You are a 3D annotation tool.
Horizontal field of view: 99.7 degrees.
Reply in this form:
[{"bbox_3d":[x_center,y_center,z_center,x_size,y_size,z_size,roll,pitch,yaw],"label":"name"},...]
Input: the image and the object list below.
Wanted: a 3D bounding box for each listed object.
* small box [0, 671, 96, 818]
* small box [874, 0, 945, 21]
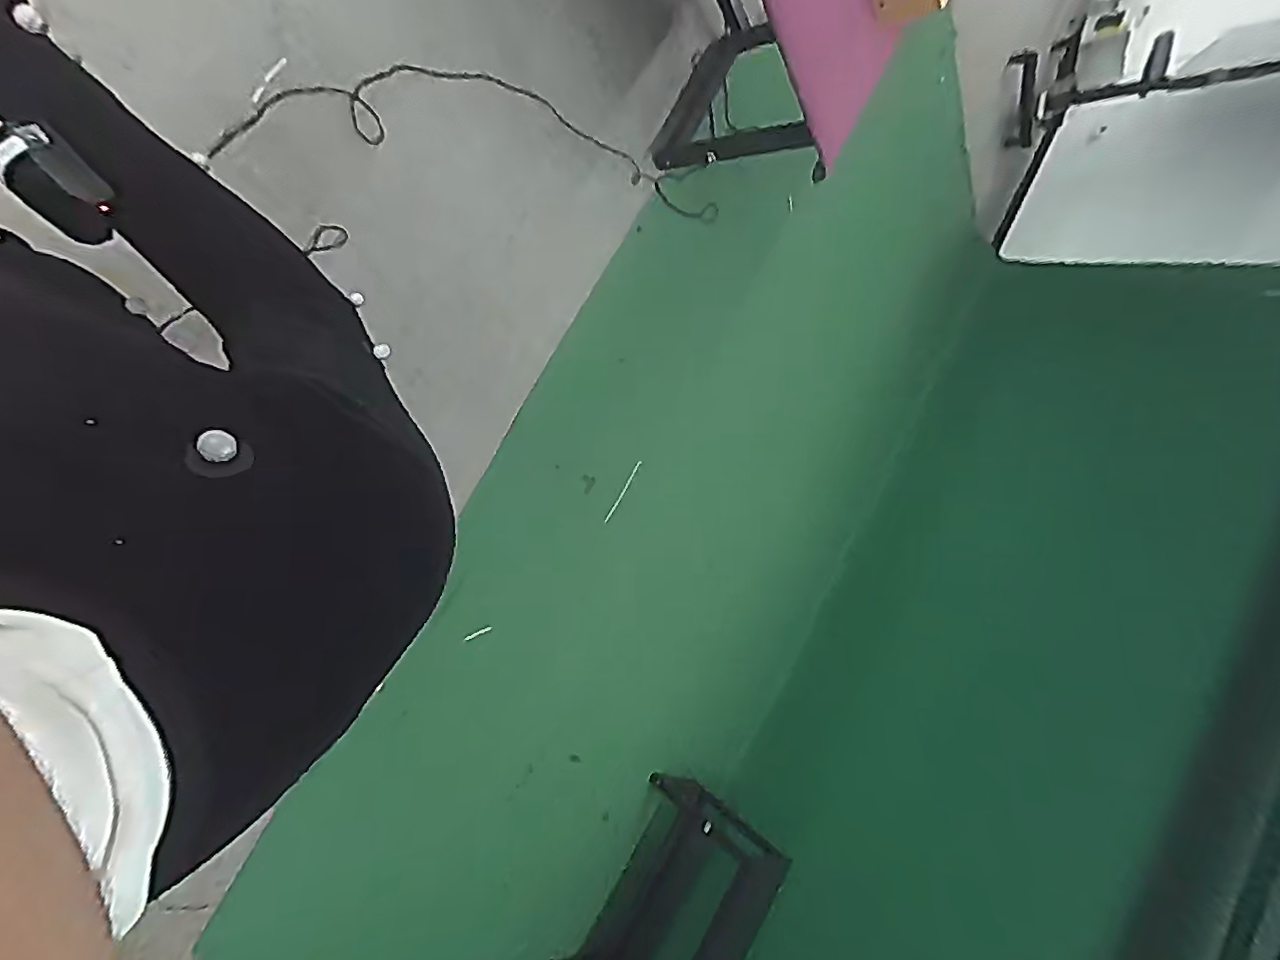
[{"bbox_3d":[-1.181,0.486,1.010,0.168,0.176,0.179,-52,134,-14],"label":"small box"},{"bbox_3d":[0.712,-1.343,1.388,0.168,0.176,0.179,35,81,-46],"label":"small box"}]
